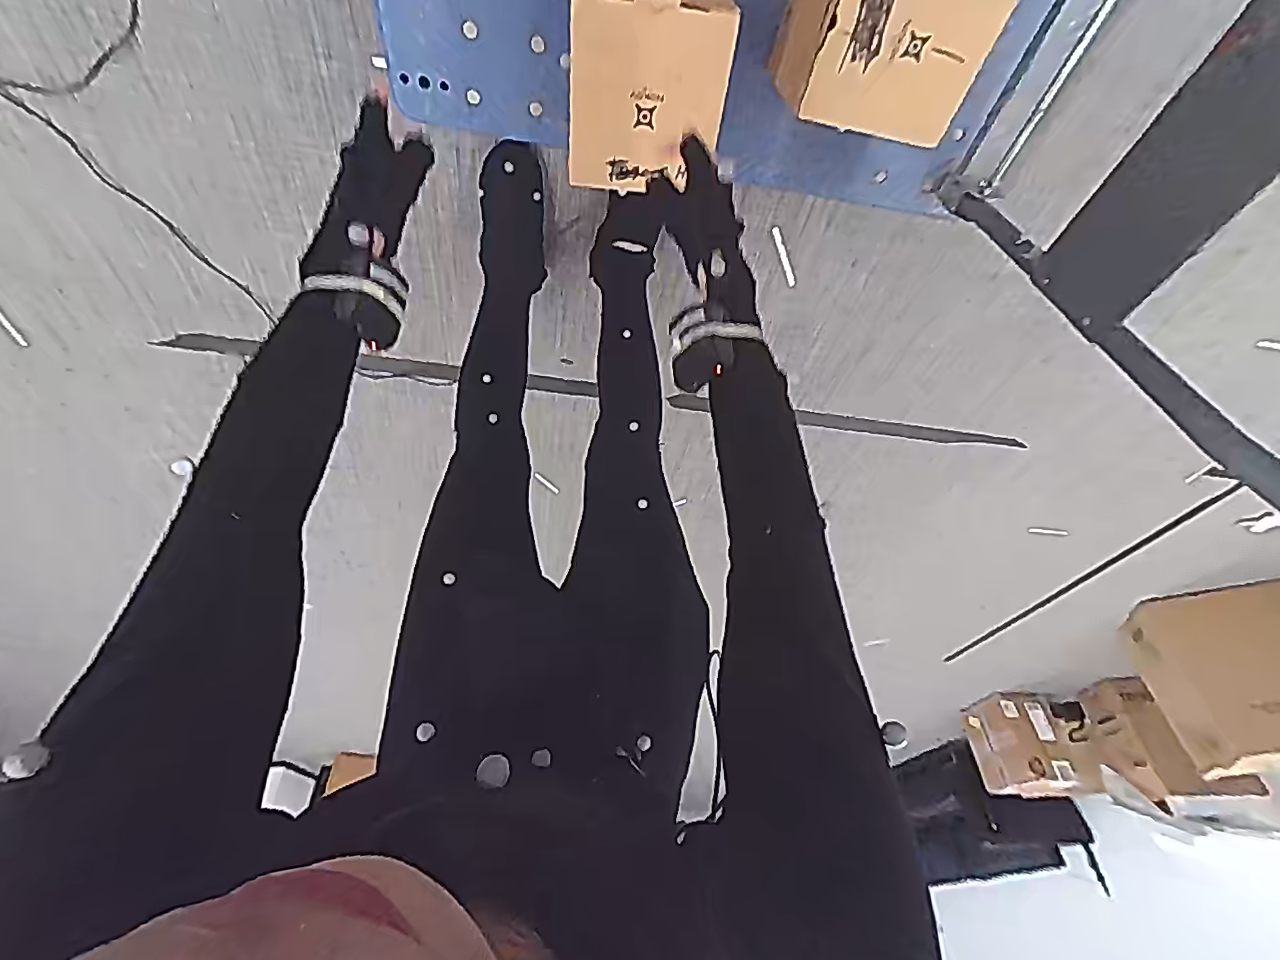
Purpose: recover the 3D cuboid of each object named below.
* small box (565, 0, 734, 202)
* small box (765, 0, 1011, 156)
[{"bbox_3d":[-0.001,-0.457,0.635,0.168,0.176,0.179,3,139,-6],"label":"small box"},{"bbox_3d":[0.259,-0.497,0.602,0.179,0.176,0.168,6,139,-12],"label":"small box"}]
